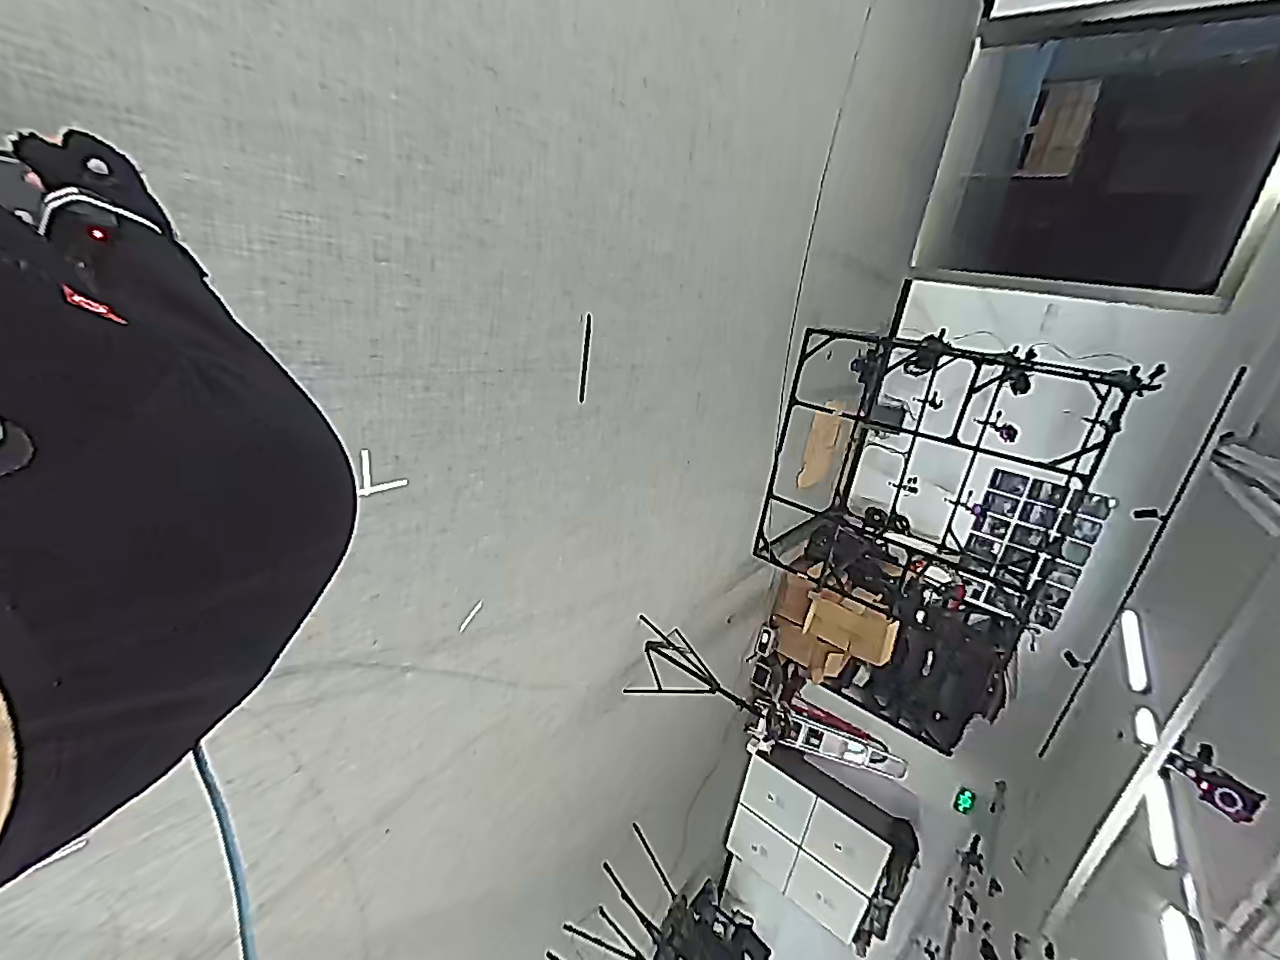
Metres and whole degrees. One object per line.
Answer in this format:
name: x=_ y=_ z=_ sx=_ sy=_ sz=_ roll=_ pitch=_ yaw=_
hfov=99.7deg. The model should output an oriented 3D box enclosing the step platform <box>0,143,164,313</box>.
step platform: x=-1.248 y=-0.439 z=0.899 sx=0.684 sy=0.204 sz=0.286 roll=-19 pitch=124 yaw=-50
